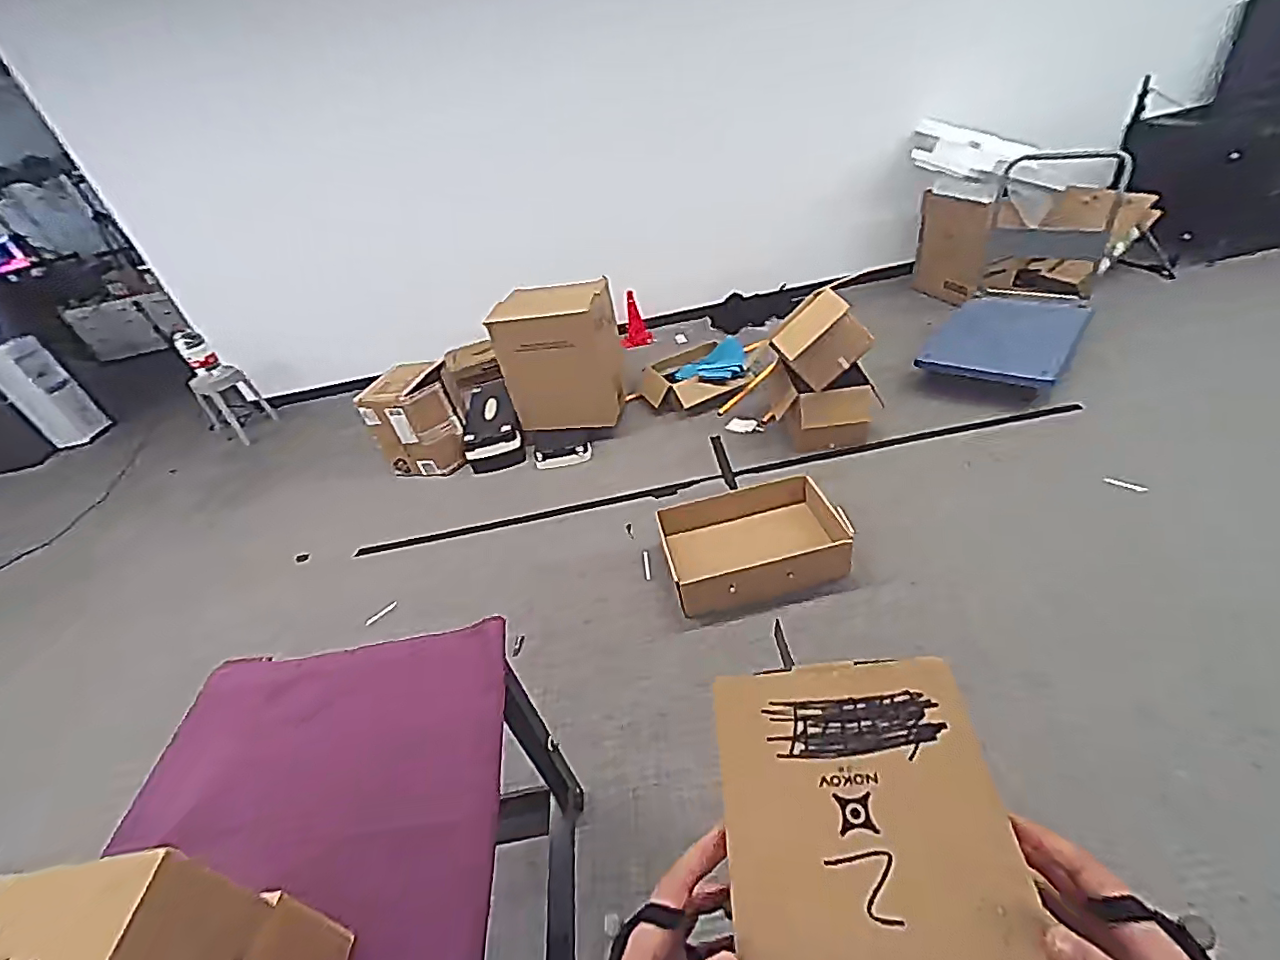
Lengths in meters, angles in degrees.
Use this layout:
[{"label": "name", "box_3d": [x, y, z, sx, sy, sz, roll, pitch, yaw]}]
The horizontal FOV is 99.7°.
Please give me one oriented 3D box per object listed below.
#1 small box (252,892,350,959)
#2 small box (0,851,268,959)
[{"label": "small box", "box_3d": [-0.450, 0.588, 0.587, 0.168, 0.176, 0.179, -11, 37, 3]}, {"label": "small box", "box_3d": [-0.488, 0.465, 0.483, 0.179, 0.176, 0.168, -11, 37, 3]}]
